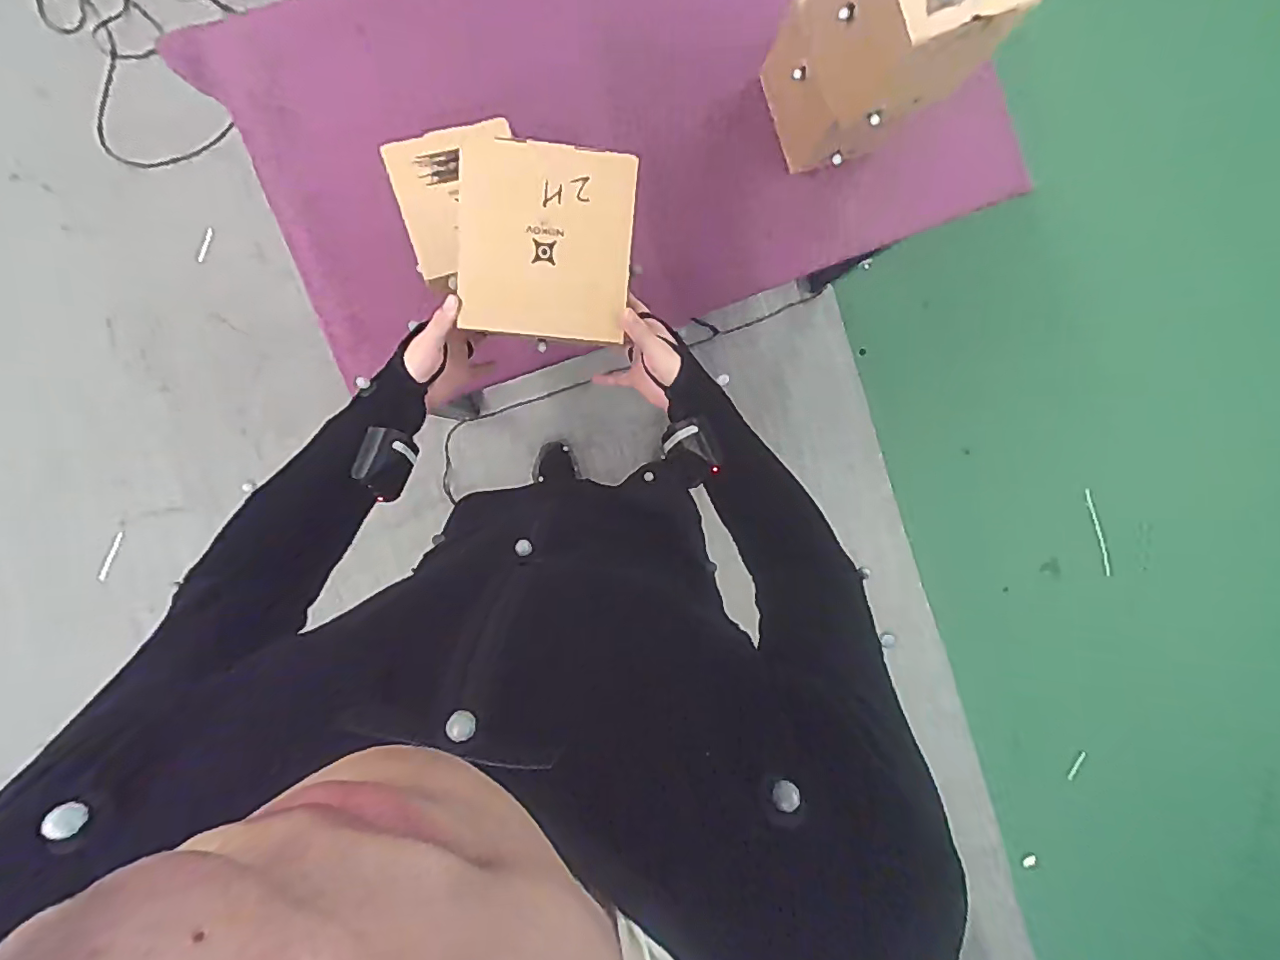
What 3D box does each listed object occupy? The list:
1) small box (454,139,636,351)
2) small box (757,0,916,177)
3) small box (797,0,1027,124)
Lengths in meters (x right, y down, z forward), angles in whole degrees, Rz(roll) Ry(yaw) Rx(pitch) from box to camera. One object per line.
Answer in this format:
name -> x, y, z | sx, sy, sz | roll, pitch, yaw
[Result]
small box -> -0.099, -0.240, 0.599 | 0.168, 0.176, 0.179 | 5, 101, -6
small box -> 0.298, -0.610, 0.833 | 0.168, 0.176, 0.179 | -19, 95, -4
small box -> 0.321, -0.583, 0.672 | 0.168, 0.176, 0.179 | -21, 94, -4
